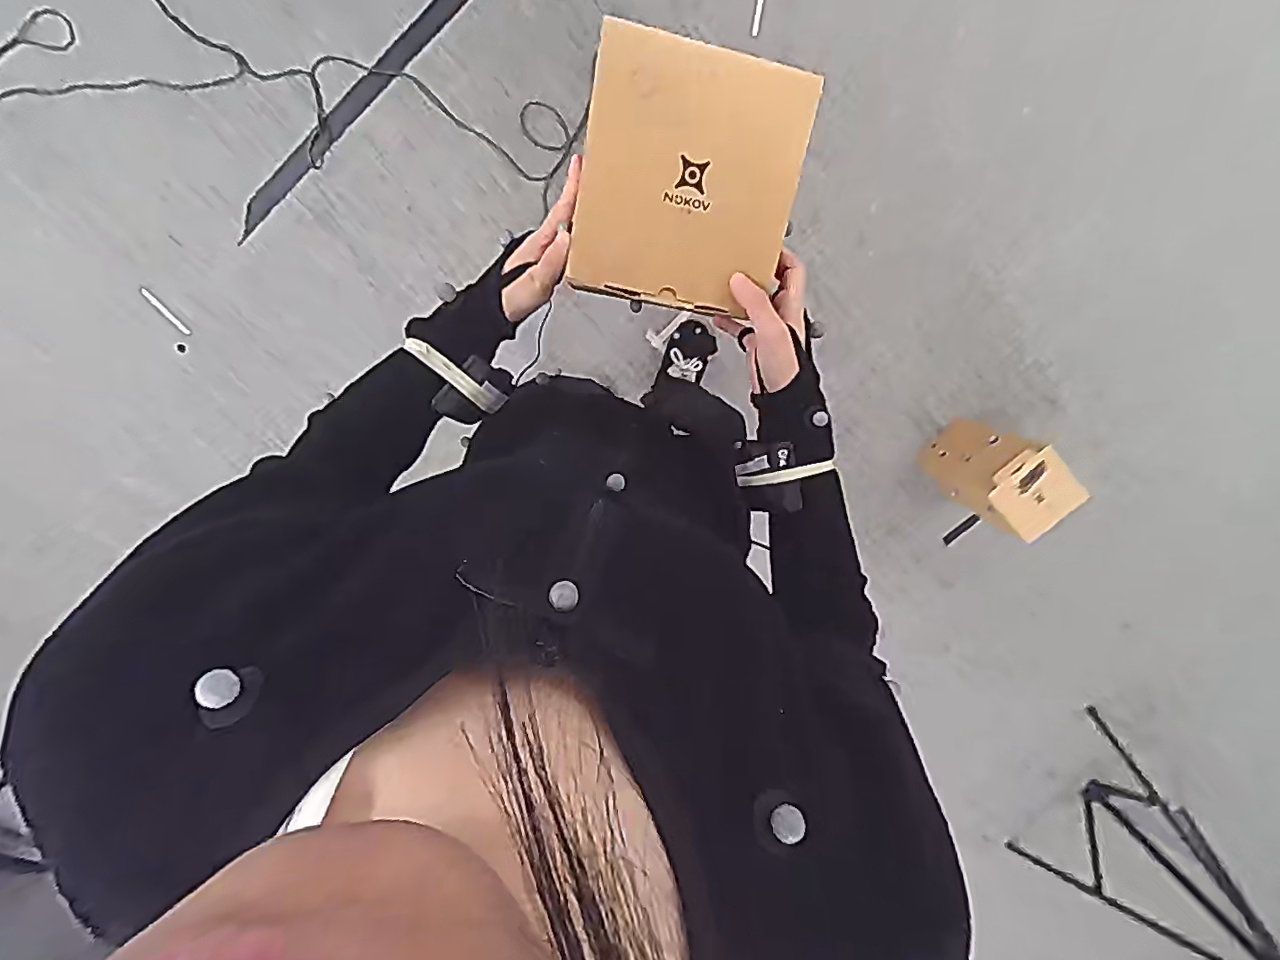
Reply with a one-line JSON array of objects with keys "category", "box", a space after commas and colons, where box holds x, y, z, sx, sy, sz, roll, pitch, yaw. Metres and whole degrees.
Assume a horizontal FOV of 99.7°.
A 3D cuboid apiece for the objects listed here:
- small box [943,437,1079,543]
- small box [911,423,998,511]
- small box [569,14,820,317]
[{"category": "small box", "box": [0.871, 0.014, 1.288, 0.168, 0.176, 0.179, -43, 103, 11]}, {"category": "small box", "box": [0.871, -0.035, 1.446, 0.179, 0.176, 0.168, 43, 101, -13]}, {"category": "small box", "box": [0.030, -0.252, 0.482, 0.168, 0.176, 0.179, 8, 108, -9]}]
